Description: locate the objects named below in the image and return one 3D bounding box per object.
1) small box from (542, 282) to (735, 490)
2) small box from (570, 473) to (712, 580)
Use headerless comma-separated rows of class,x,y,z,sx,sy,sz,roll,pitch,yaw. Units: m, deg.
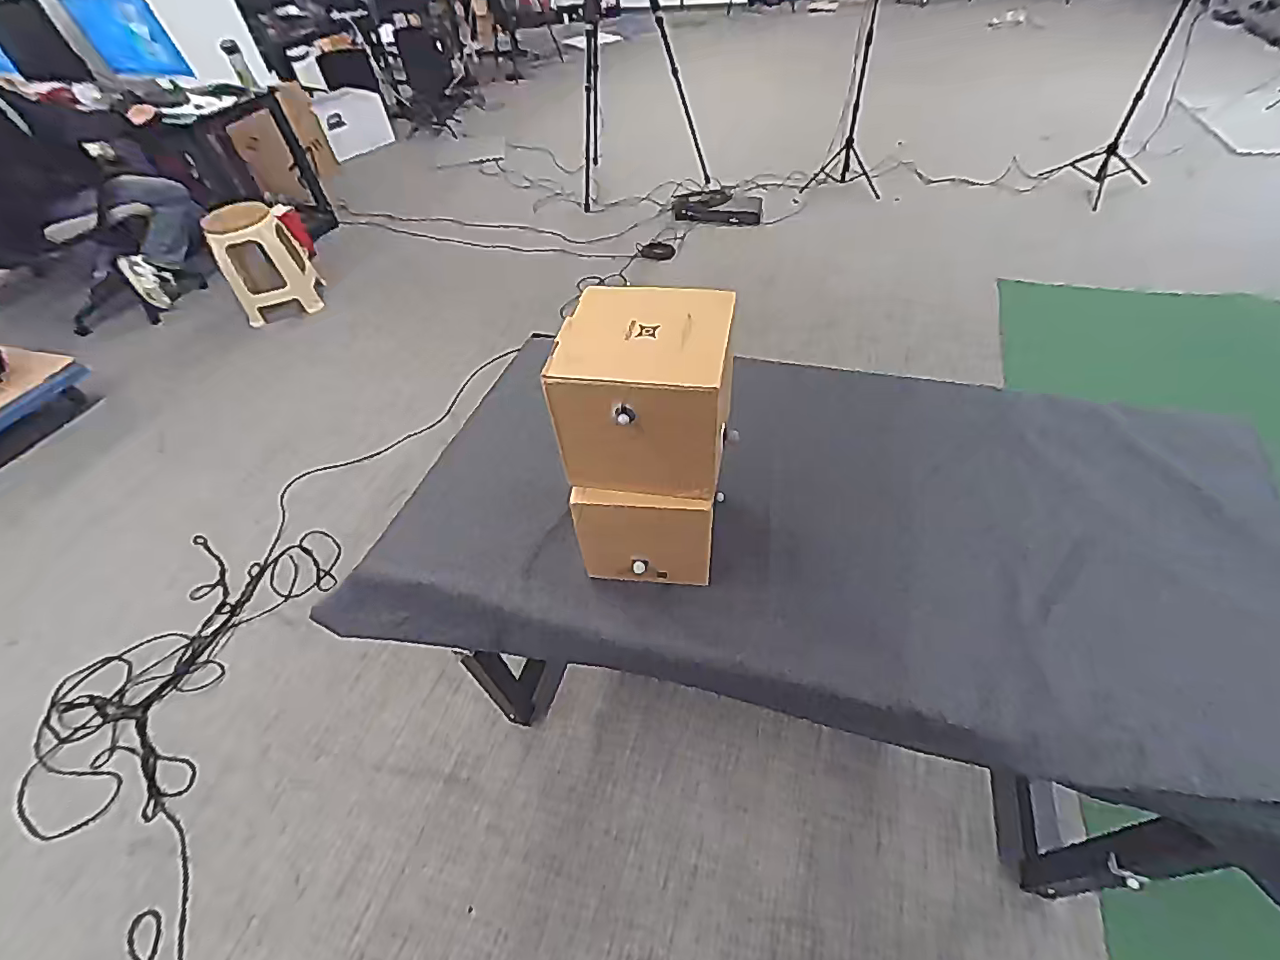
small box,0.010,-0.105,0.618,0.179,0.176,0.168,6,51,10
small box,0.014,0.012,0.732,0.168,0.176,0.179,3,50,8
